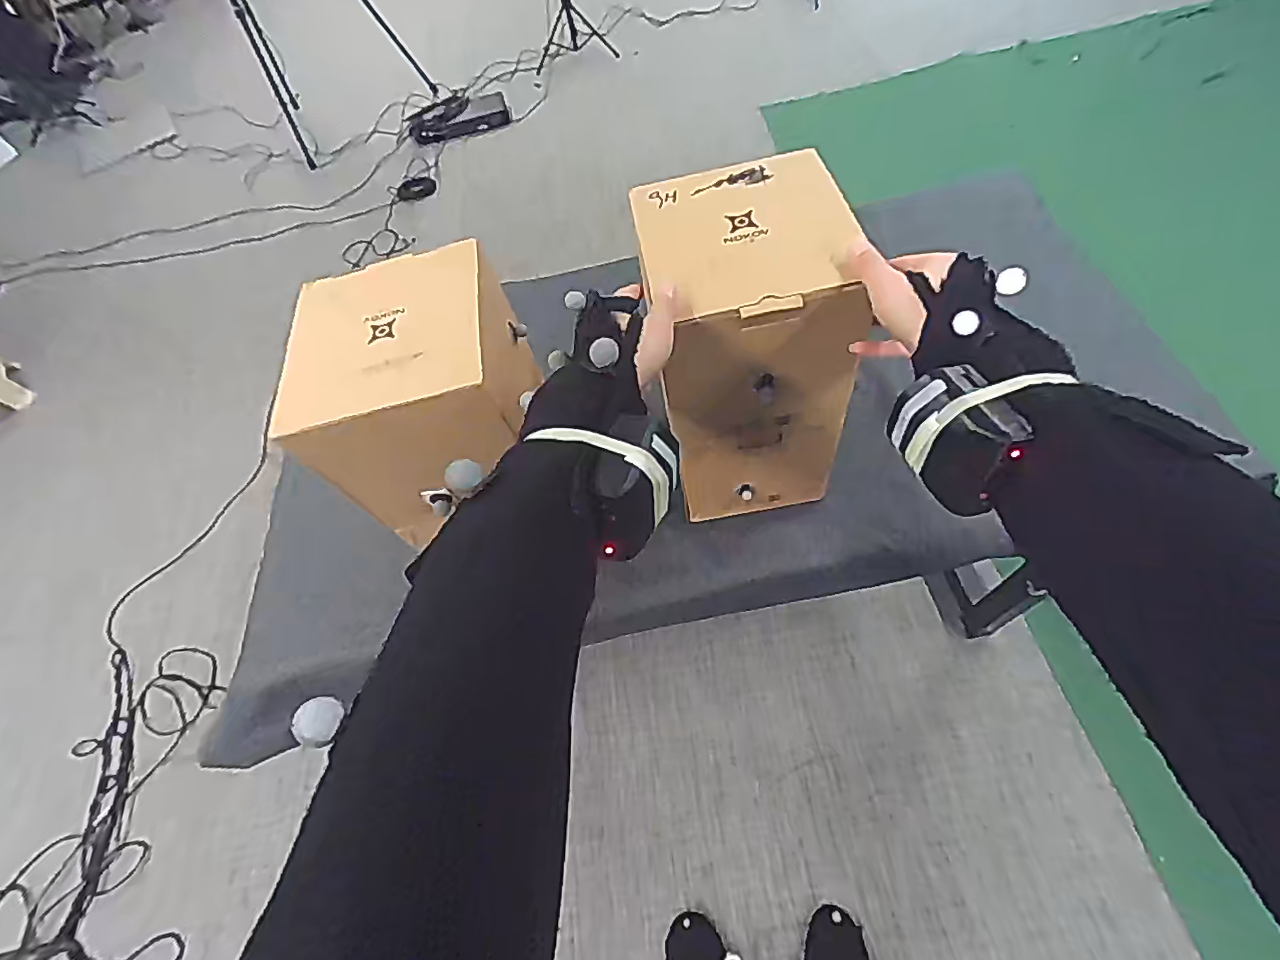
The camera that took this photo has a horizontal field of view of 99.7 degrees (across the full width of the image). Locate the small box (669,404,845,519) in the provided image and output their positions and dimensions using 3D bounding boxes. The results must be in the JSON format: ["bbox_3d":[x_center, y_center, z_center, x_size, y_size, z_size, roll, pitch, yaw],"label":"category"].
[{"bbox_3d":[0.117,-0.077,0.632,0.168,0.176,0.179,-11,59,3],"label":"small box"}]

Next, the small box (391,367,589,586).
[{"bbox_3d":[-0.165,0.002,0.633,0.168,0.176,0.179,-14,59,2],"label":"small box"}]

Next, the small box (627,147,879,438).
[{"bbox_3d":[0.091,-0.154,0.490,0.168,0.176,0.179,-11,59,4],"label":"small box"}]

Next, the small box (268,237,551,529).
[{"bbox_3d":[-0.190,-0.080,0.495,0.168,0.176,0.179,-15,59,3],"label":"small box"}]
